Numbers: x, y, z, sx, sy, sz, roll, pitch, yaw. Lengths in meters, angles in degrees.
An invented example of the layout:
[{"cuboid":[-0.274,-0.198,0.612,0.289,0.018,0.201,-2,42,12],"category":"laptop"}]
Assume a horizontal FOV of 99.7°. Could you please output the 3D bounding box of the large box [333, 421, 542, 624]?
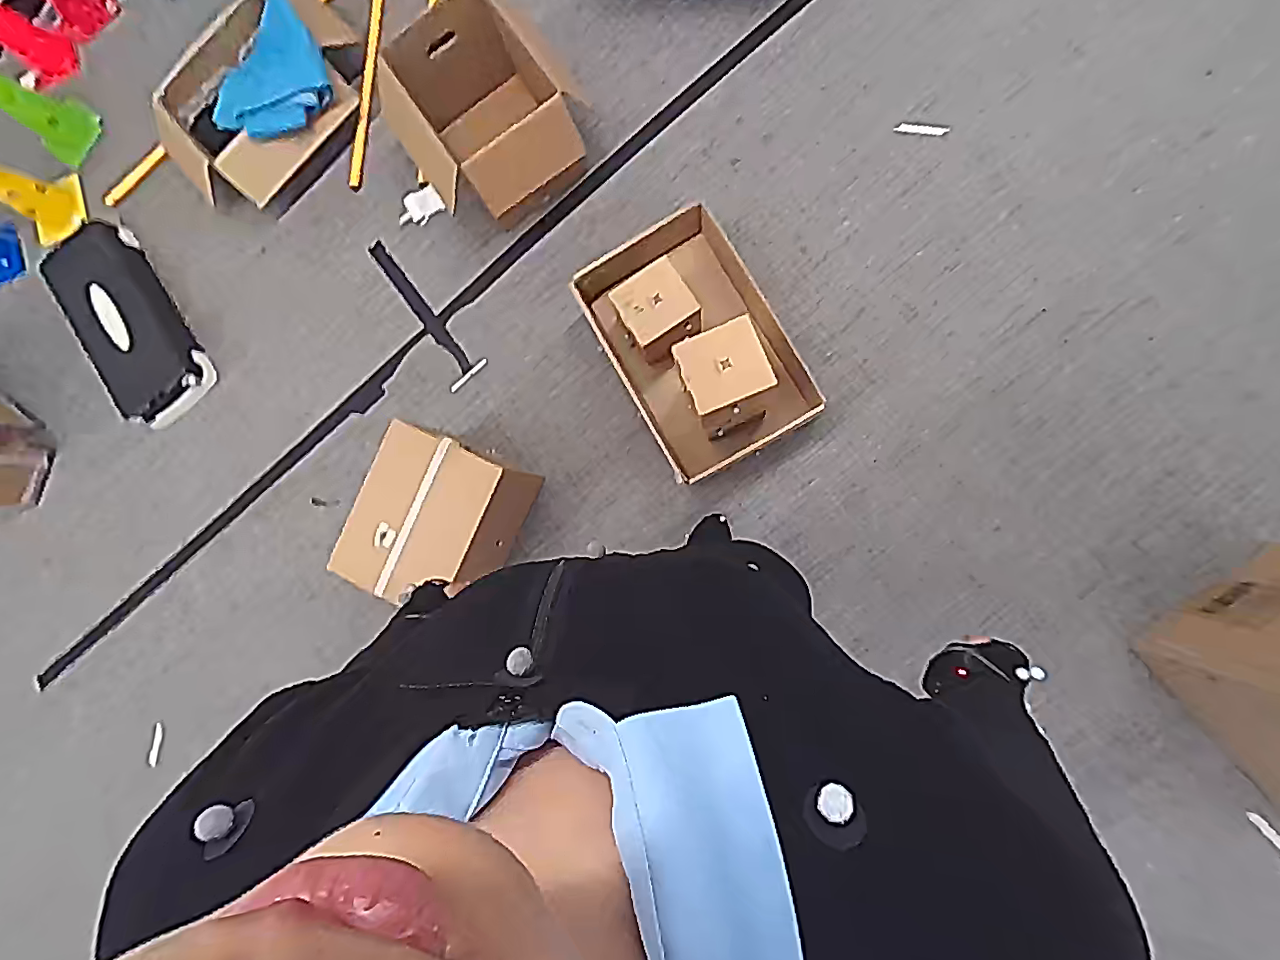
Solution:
[{"cuboid":[-0.506,0.101,1.423,0.320,0.320,0.408,24,91,10],"category":"large box"}]
